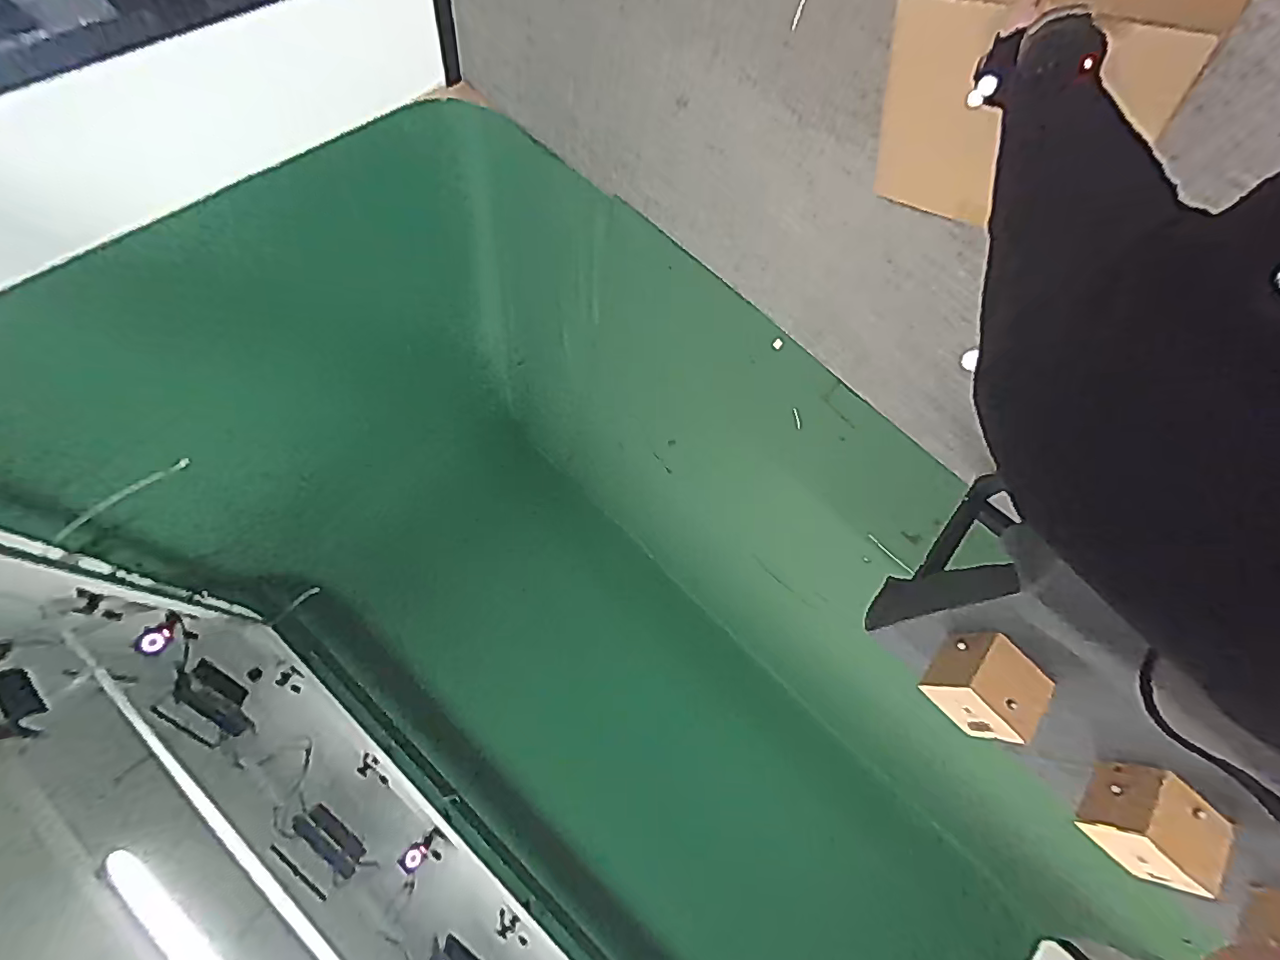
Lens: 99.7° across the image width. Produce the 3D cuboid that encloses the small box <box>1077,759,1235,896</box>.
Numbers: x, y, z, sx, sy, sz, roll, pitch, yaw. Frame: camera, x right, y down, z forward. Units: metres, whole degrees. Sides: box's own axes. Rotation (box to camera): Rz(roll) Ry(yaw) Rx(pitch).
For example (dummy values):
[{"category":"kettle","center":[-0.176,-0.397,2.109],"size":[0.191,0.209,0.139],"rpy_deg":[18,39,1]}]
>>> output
[{"category":"small box","center":[1.141,0.755,1.200],"size":[0.179,0.176,0.168],"rpy_deg":[43,158,7]}]

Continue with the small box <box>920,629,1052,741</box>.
[{"category":"small box","center":[0.819,0.478,1.280],"size":[0.179,0.176,0.168],"rpy_deg":[45,157,3]}]

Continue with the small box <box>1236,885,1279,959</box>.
[{"category":"small box","center":[1.418,0.984,1.112],"size":[0.168,0.176,0.179],"rpy_deg":[40,159,17]}]
